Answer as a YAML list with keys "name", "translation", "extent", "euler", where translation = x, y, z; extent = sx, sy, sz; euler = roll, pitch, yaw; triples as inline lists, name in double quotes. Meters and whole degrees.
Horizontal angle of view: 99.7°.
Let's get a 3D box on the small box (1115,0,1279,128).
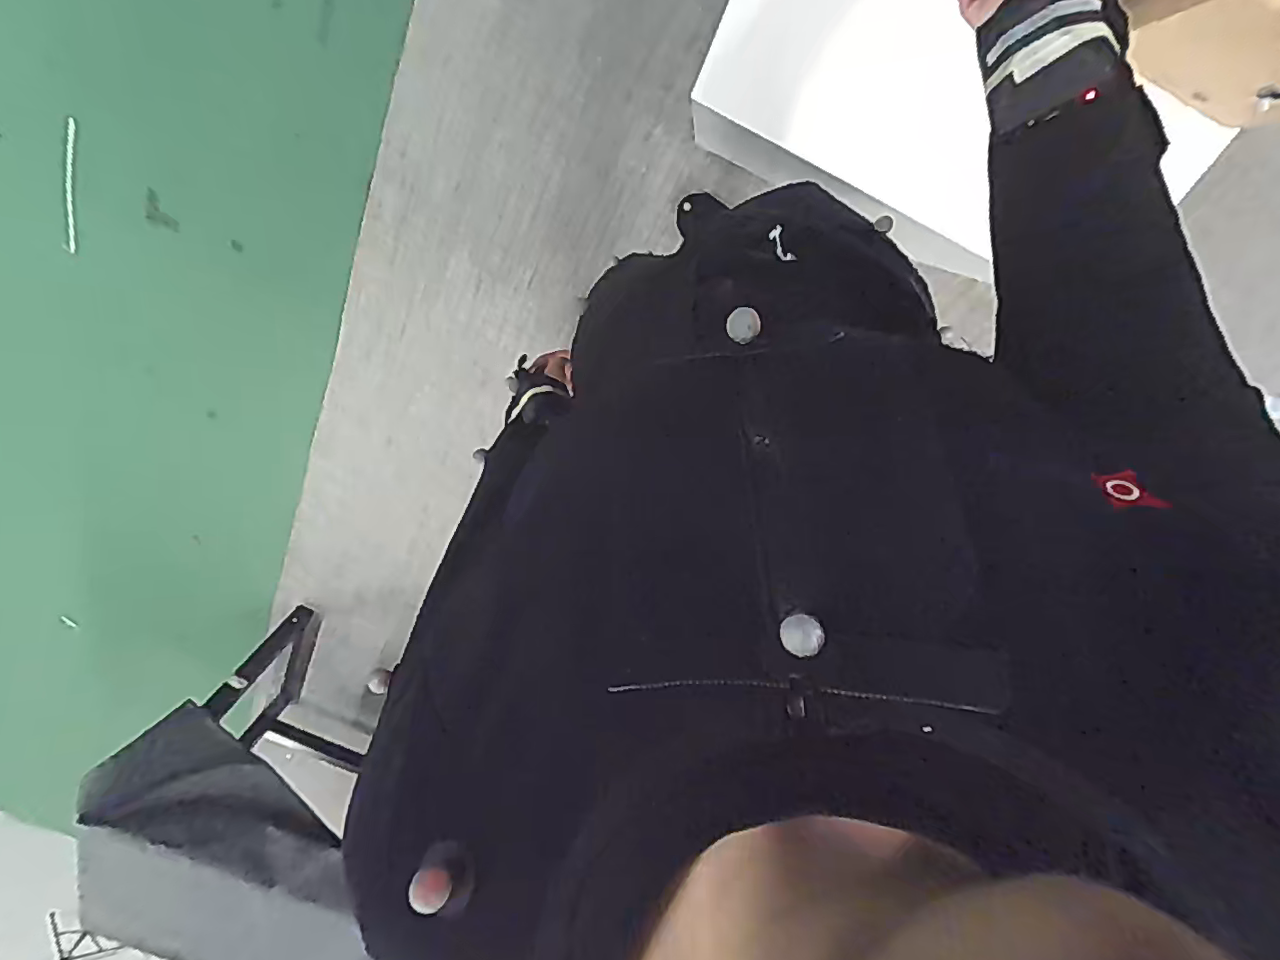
- name: "small box"
  translation: [0.527, -0.401, 0.412]
  extent: [0.168, 0.176, 0.179]
  euler: [24, 117, -7]
